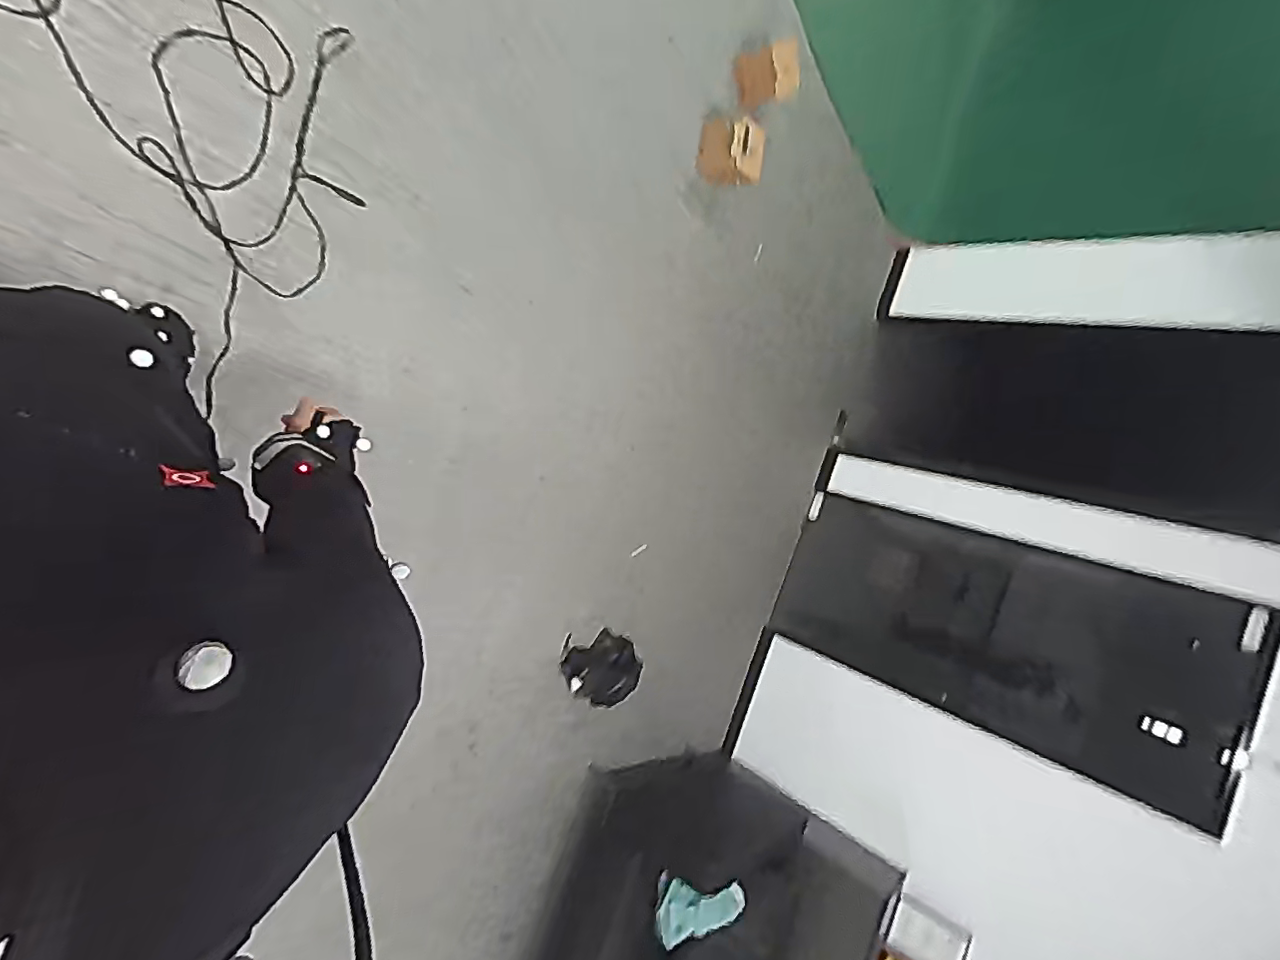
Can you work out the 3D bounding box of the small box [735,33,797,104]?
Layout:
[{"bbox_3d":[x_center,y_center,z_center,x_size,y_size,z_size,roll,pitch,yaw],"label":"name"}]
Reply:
[{"bbox_3d":[0.464,-1.527,2.010,0.179,0.176,0.168,-44,134,-31],"label":"small box"}]
